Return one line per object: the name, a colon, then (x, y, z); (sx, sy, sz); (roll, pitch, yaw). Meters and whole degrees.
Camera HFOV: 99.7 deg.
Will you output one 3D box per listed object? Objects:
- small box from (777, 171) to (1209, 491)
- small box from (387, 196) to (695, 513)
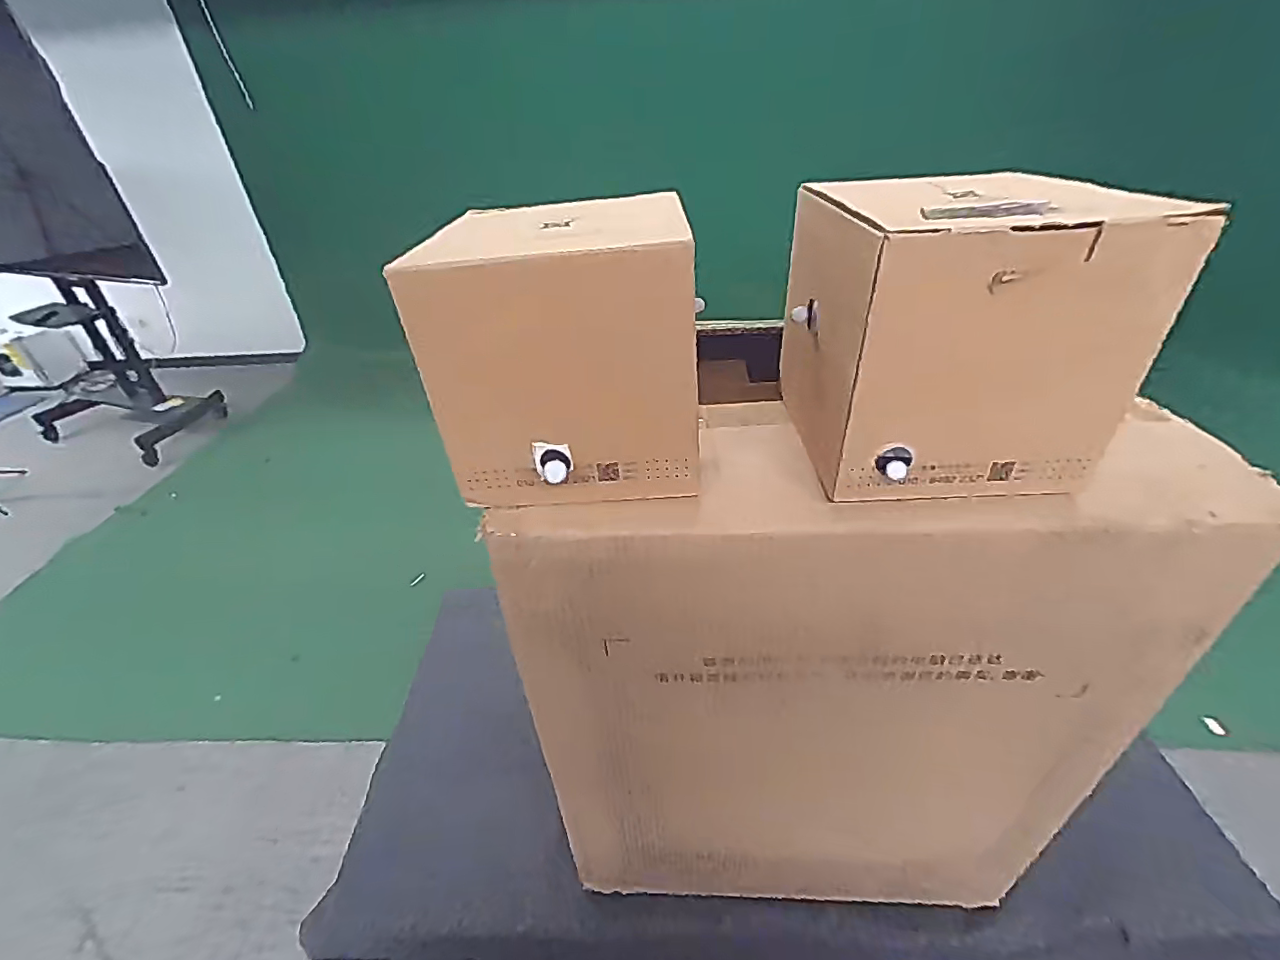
small box: (0.198, -0.103, 0.375); (0.168, 0.176, 0.179); (-2, 35, 2)
small box: (-0.048, -0.096, 0.398); (0.168, 0.176, 0.179); (-5, 37, 4)
